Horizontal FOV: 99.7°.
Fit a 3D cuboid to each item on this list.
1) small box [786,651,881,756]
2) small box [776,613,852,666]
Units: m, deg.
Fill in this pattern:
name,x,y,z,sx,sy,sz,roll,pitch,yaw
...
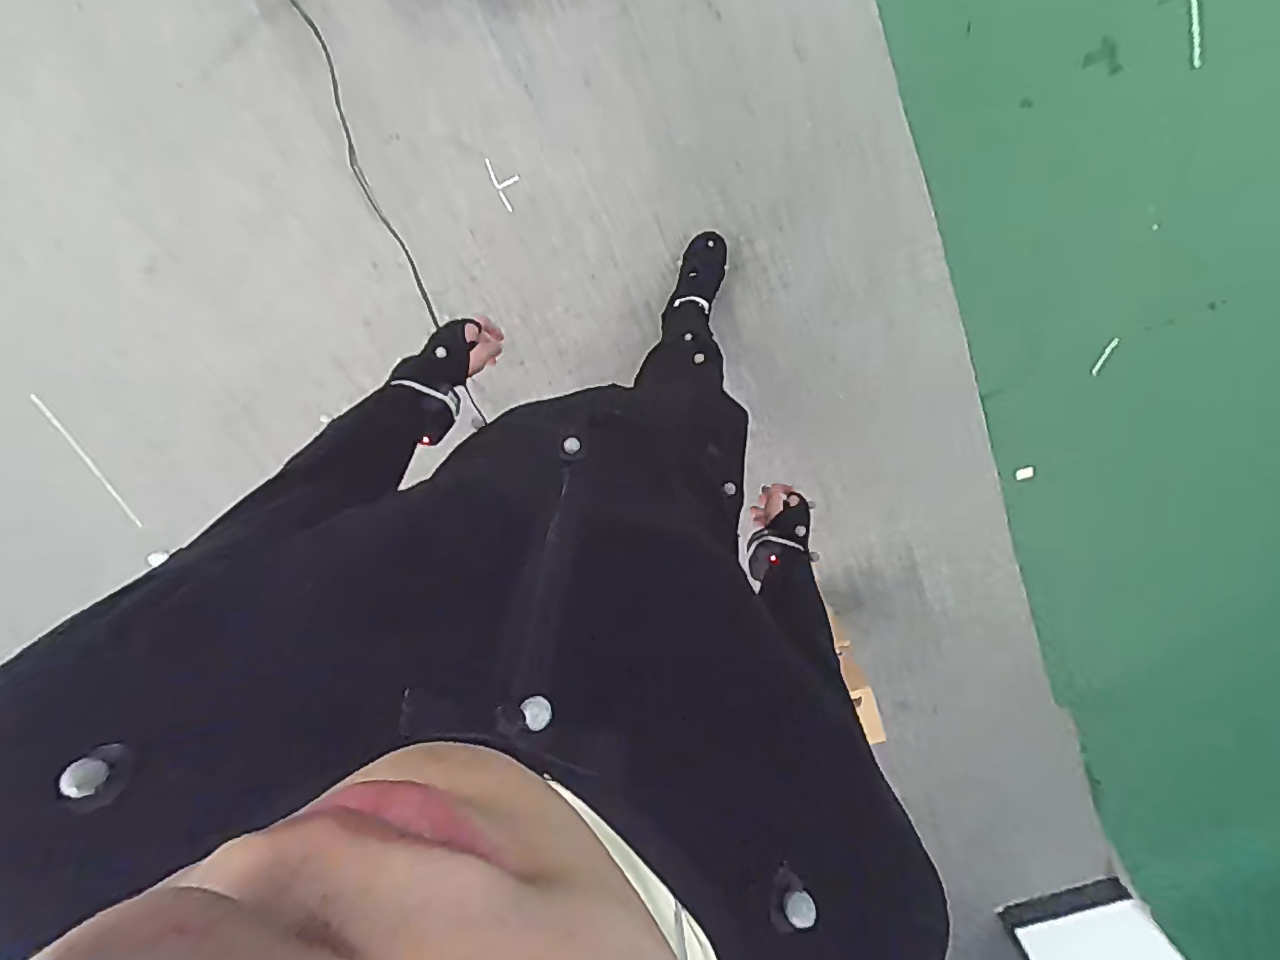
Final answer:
name,x,y,z,sx,sy,sz,roll,pitch,yaw
small box,0.492,0.566,1.396,0.168,0.176,0.179,-19,108,7
small box,0.501,0.503,1.549,0.168,0.176,0.179,-18,106,7
